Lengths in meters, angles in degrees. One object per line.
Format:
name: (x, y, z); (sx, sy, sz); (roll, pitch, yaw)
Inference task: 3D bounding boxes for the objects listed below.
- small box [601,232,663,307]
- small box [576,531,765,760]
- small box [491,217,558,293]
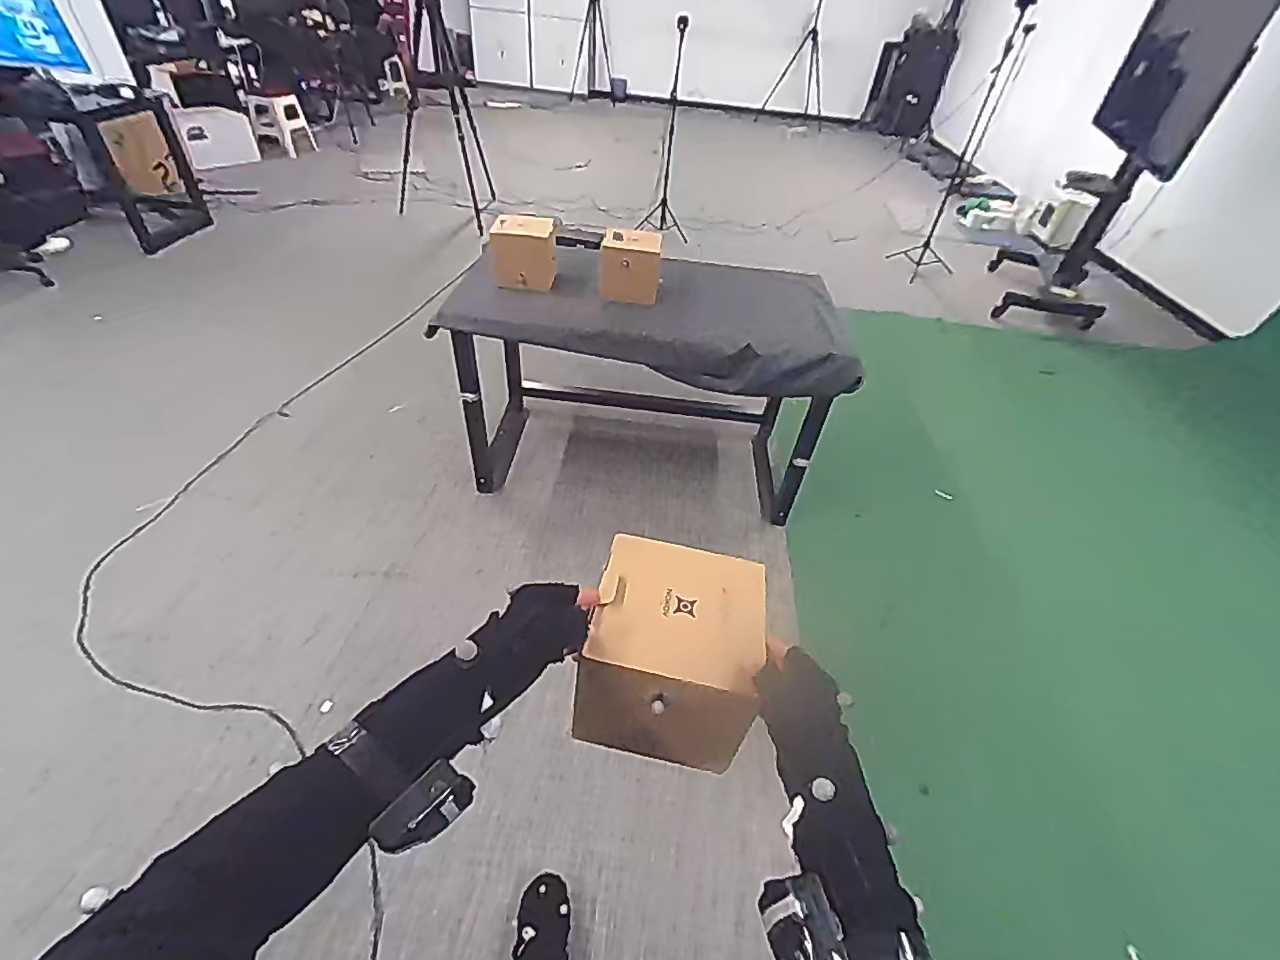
small box: (-0.027, -0.659, 1.697); (0.179, 0.176, 0.168); (7, 42, -1)
small box: (0.032, 0.187, 0.610); (0.179, 0.176, 0.168); (13, 40, 2)
small box: (-0.358, -0.705, 1.704); (0.179, 0.176, 0.168); (5, 42, -3)
